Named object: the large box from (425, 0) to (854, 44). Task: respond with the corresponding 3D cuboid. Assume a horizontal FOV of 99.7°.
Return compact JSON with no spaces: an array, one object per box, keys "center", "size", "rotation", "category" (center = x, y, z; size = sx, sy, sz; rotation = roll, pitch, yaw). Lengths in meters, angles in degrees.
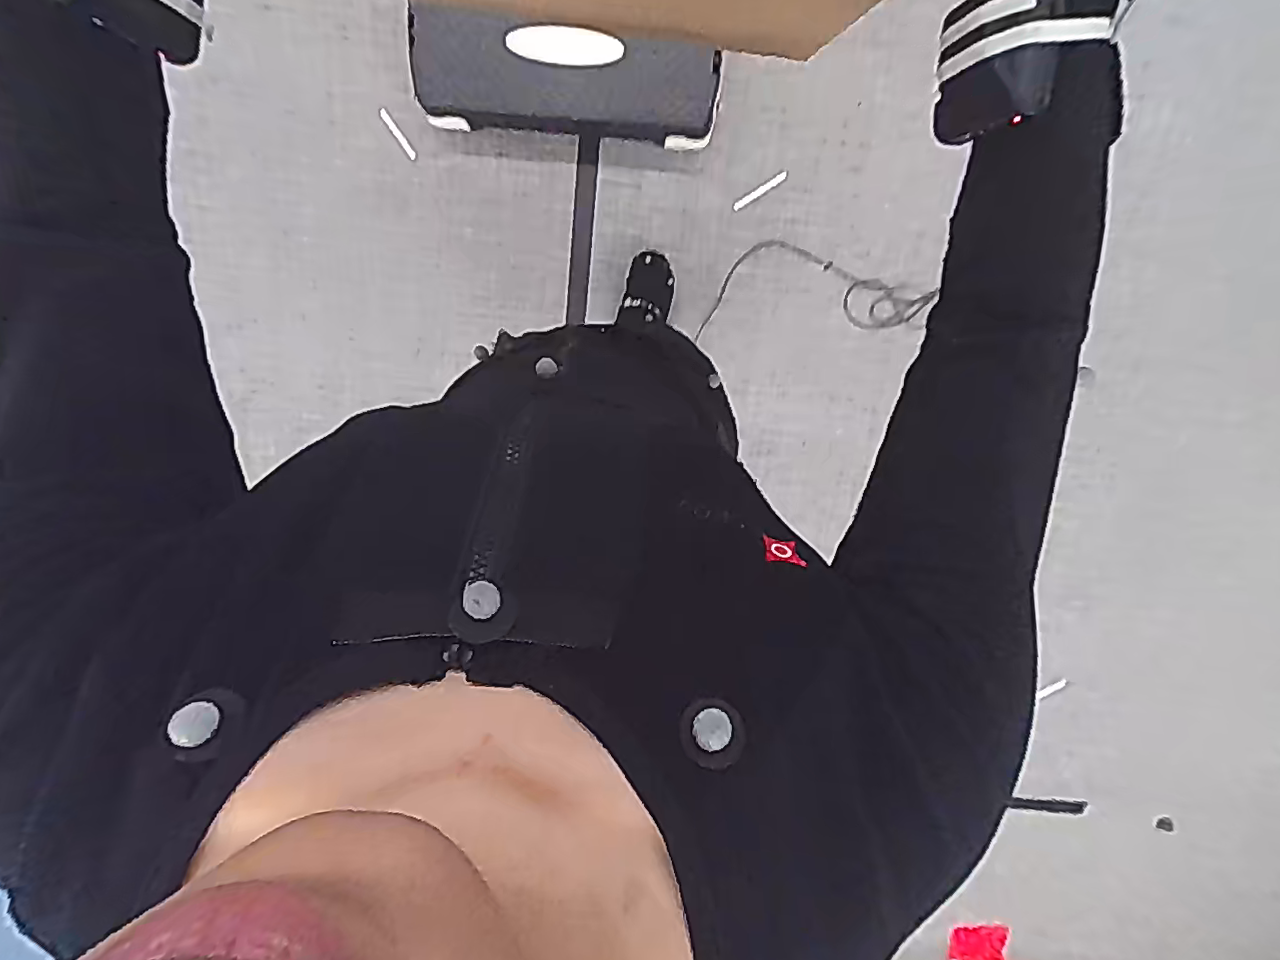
[{"center":[-0.008,-0.523,0.339],"size":[0.408,0.320,0.320],"rotation":[4,118,-4],"category":"large box"}]
